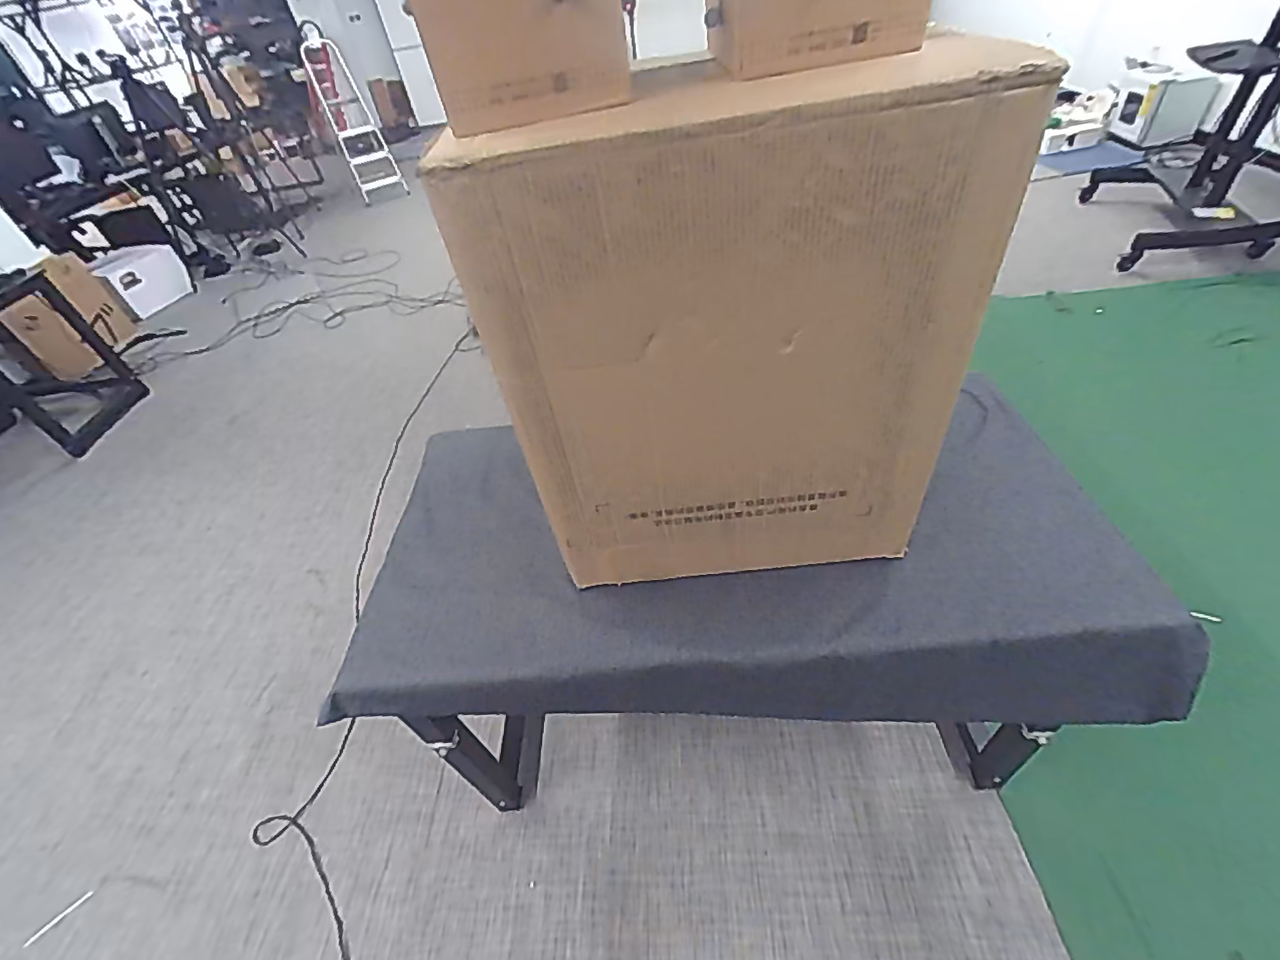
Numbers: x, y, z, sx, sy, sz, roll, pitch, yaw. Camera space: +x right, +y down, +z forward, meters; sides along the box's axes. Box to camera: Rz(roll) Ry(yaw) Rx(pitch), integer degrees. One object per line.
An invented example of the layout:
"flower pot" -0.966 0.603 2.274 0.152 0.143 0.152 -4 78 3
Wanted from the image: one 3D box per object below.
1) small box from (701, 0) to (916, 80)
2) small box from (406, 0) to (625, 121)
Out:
"small box" 0.147 -0.486 0.488 0.168 0.176 0.179 -9 47 2
"small box" -0.116 -0.443 0.480 0.168 0.176 0.179 -14 47 -2
